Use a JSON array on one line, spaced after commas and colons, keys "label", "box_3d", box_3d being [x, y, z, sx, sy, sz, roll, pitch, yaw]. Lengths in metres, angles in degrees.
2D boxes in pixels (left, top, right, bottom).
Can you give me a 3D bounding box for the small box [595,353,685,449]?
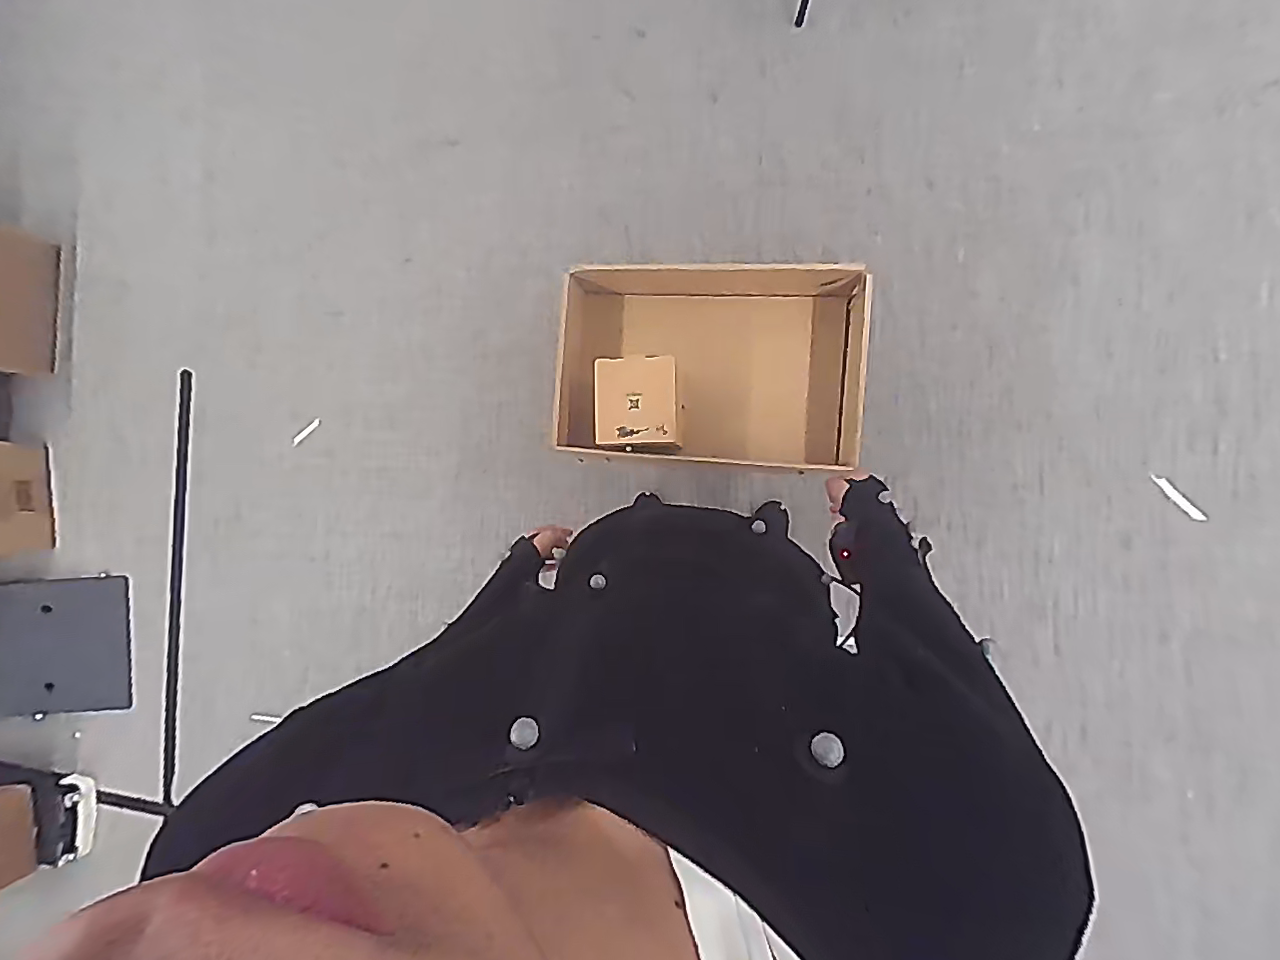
[{"label": "small box", "box_3d": [0.005, -0.162, 1.158, 0.168, 0.176, 0.179, 0, 88, 11]}]
